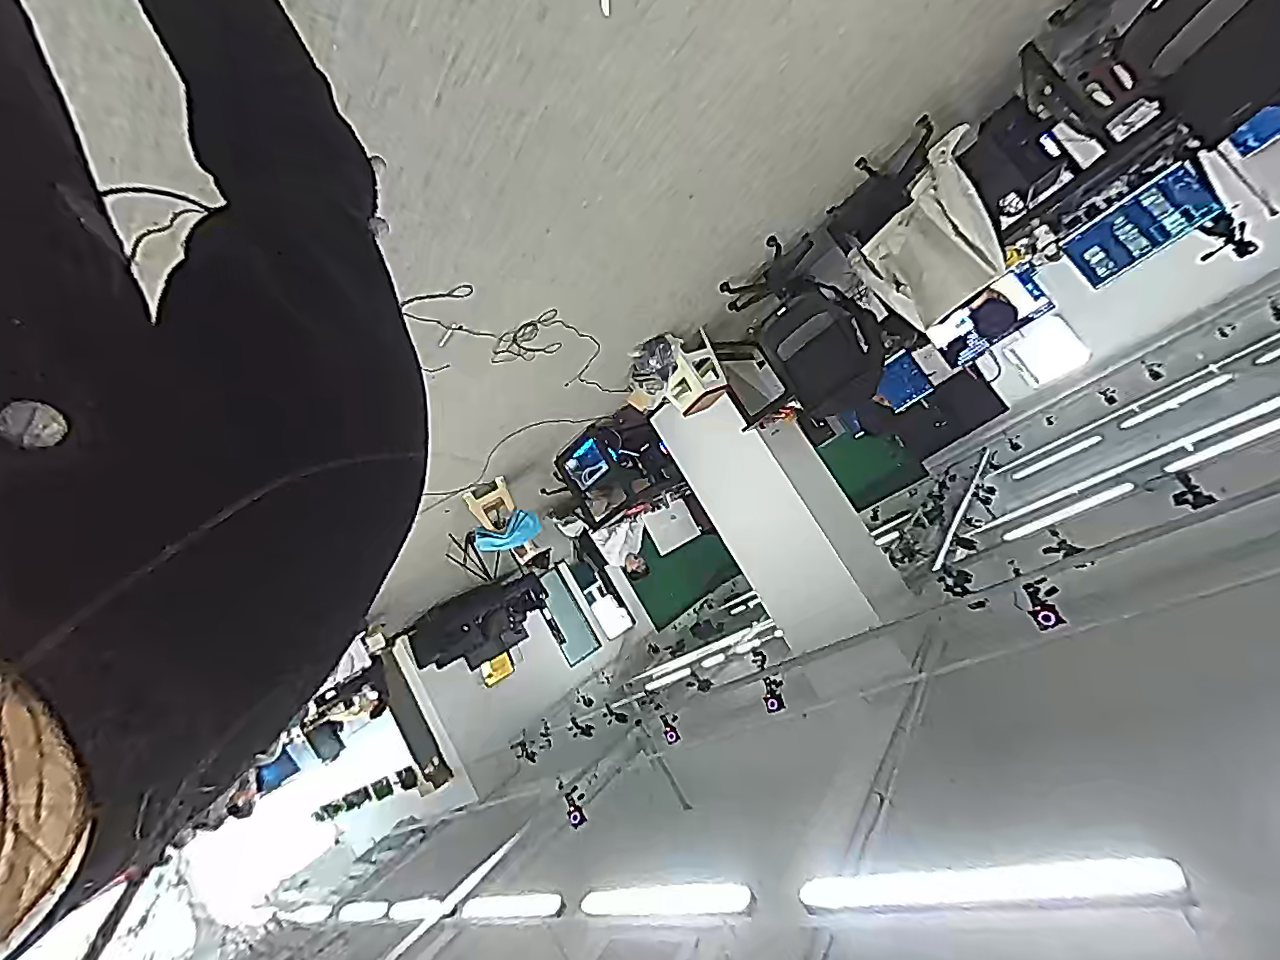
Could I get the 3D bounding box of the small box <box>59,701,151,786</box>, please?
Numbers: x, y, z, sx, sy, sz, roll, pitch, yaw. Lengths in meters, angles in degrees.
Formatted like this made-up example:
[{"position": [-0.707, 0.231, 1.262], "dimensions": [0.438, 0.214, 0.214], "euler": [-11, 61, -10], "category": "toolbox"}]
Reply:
[{"position": [-1.752, 0.855, 1.768], "dimensions": [0.179, 0.176, 0.168], "euler": [-40, 169, 30], "category": "small box"}]
